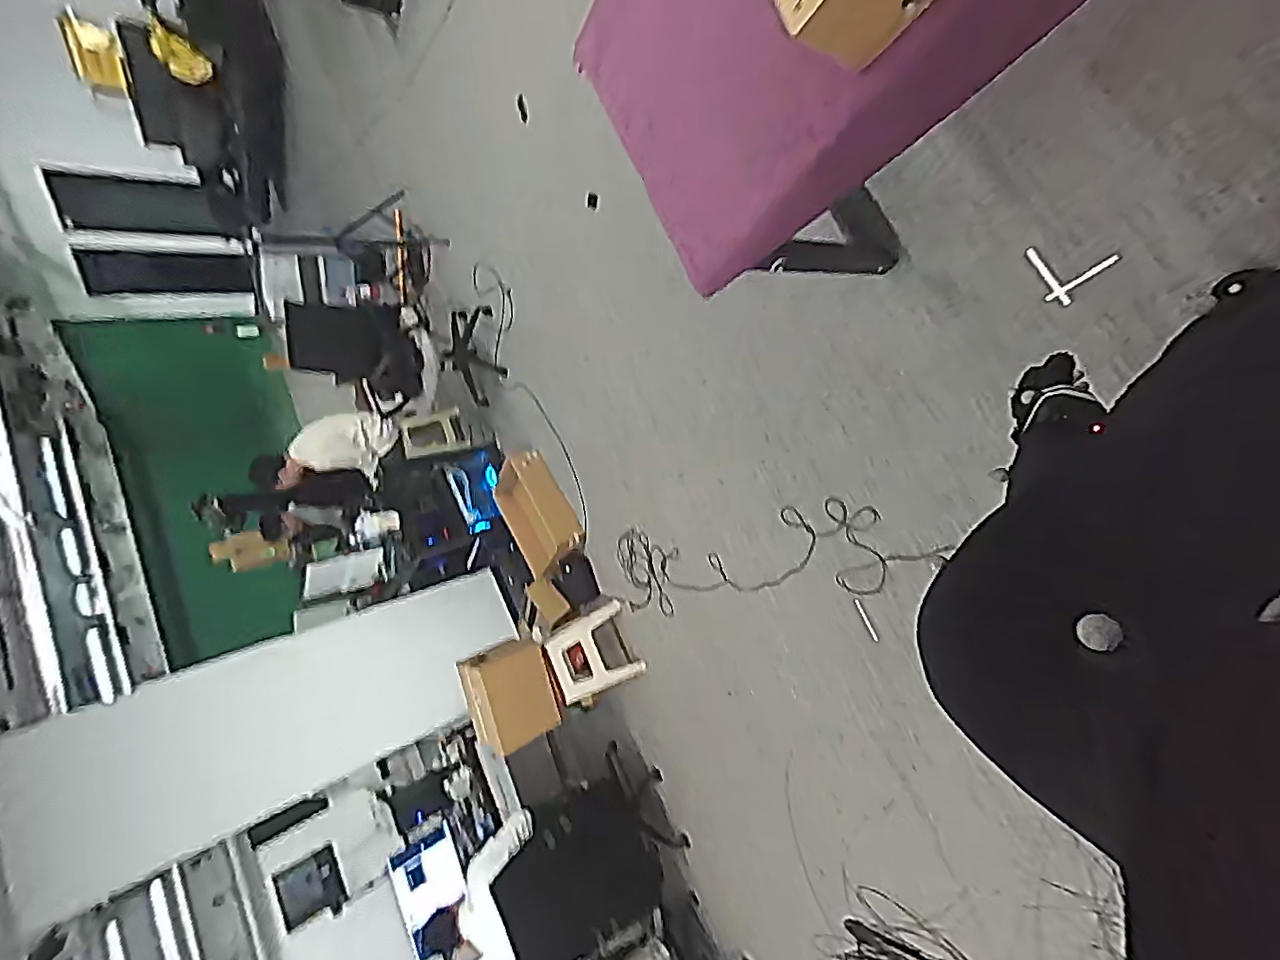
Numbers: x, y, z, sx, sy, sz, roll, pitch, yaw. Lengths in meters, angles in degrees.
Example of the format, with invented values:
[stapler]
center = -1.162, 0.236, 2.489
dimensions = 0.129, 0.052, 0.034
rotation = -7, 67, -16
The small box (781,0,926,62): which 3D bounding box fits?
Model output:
[small box]
center = 0.261, -0.646, 0.629
dimensions = 0.179, 0.176, 0.168
rotation = -29, 80, 50
